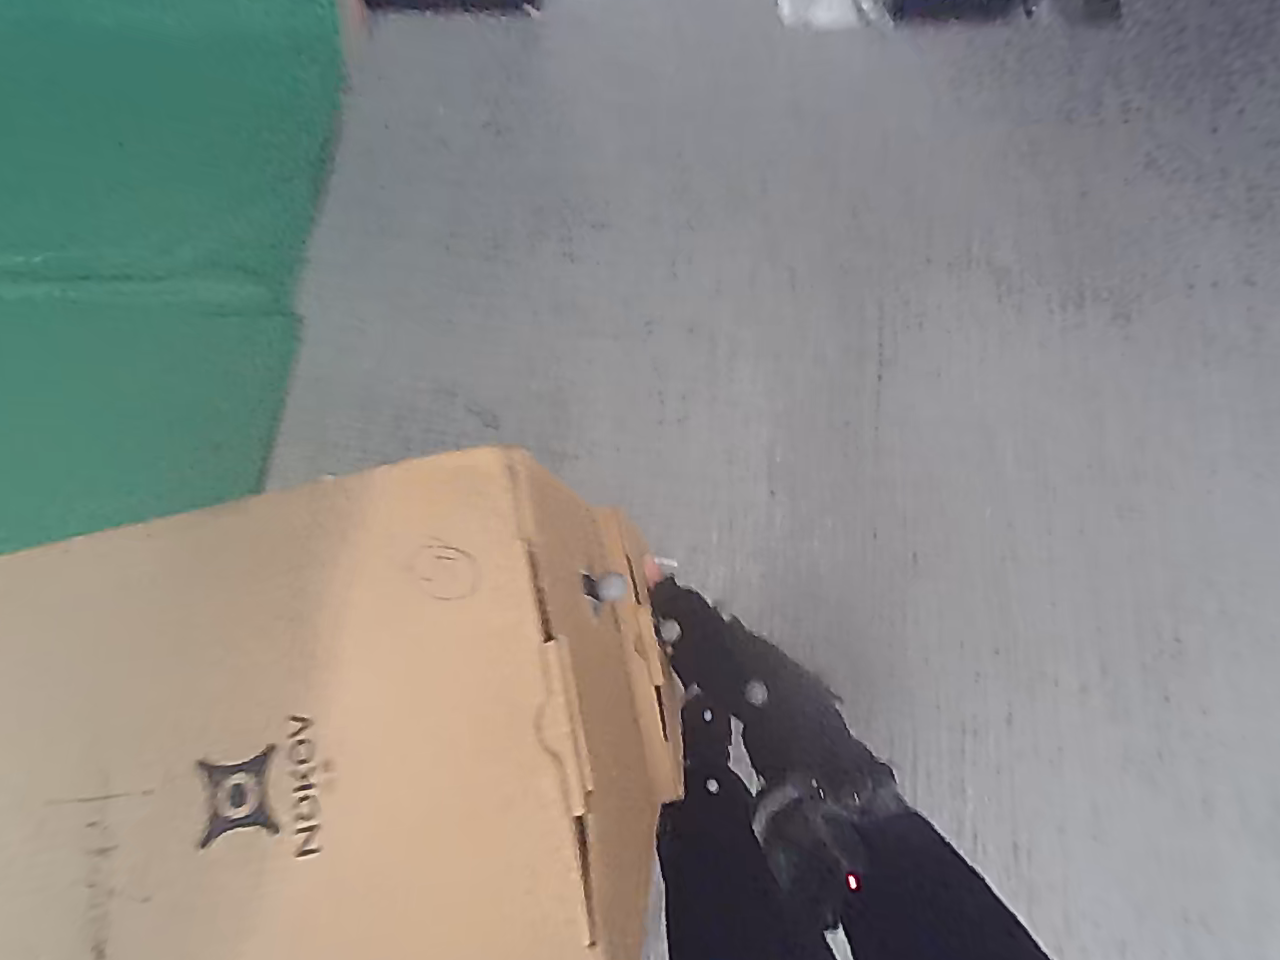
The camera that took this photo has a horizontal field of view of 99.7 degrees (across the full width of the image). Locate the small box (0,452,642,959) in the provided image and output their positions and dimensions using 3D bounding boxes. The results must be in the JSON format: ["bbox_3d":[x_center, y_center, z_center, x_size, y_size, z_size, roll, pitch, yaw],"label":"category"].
[{"bbox_3d":[-0.101,0.104,0.222,0.179,0.176,0.168,-15,76,3],"label":"small box"}]

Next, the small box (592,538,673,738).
[{"bbox_3d":[-0.066,0.160,0.539,0.179,0.176,0.168,-12,76,3],"label":"small box"}]
